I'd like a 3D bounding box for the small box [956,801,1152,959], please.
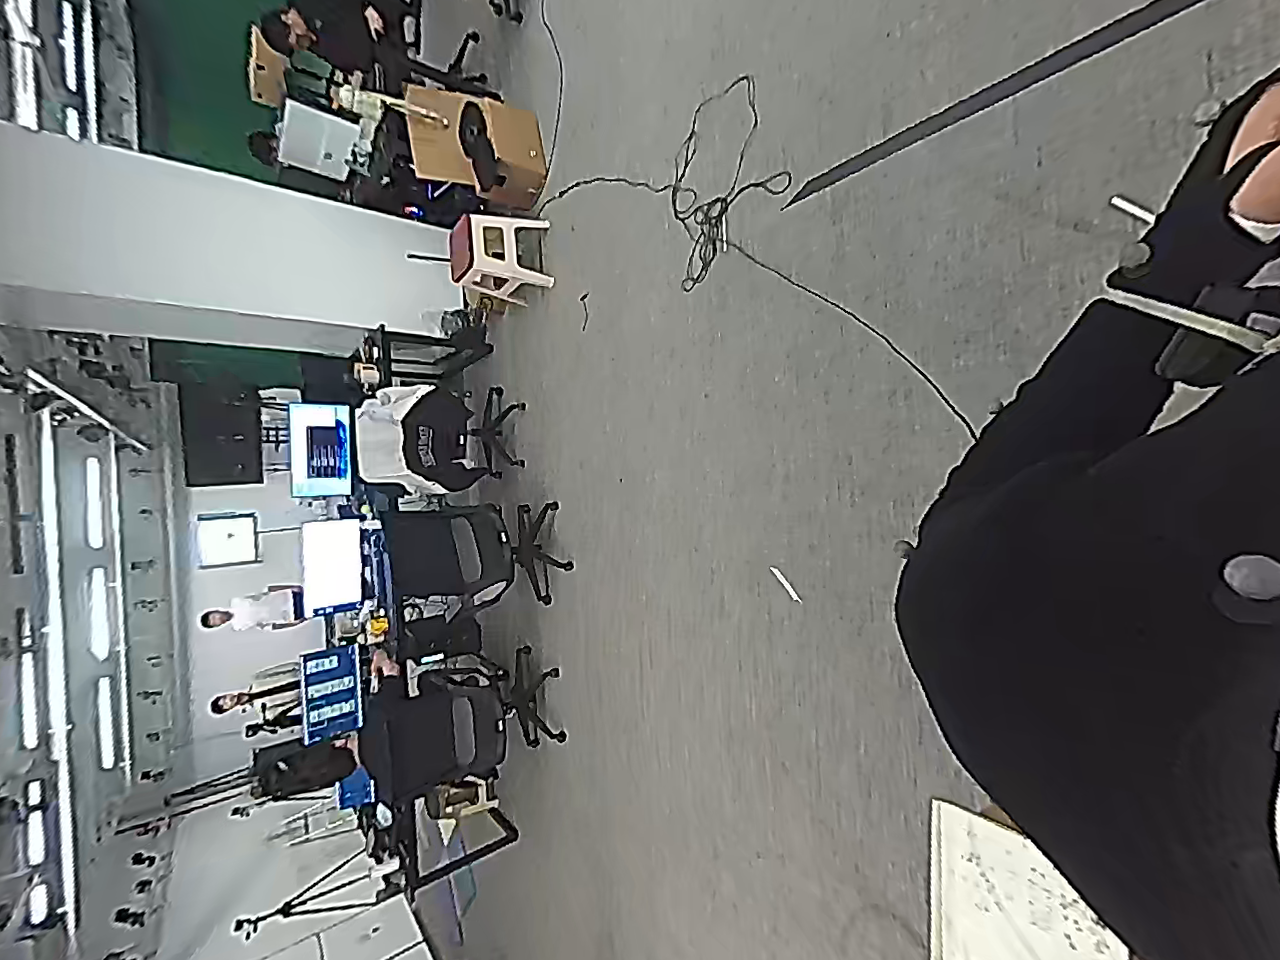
[{"bbox_3d":[0.538,0.567,0.706,0.168,0.176,0.179,1,92,54],"label":"small box"}]
